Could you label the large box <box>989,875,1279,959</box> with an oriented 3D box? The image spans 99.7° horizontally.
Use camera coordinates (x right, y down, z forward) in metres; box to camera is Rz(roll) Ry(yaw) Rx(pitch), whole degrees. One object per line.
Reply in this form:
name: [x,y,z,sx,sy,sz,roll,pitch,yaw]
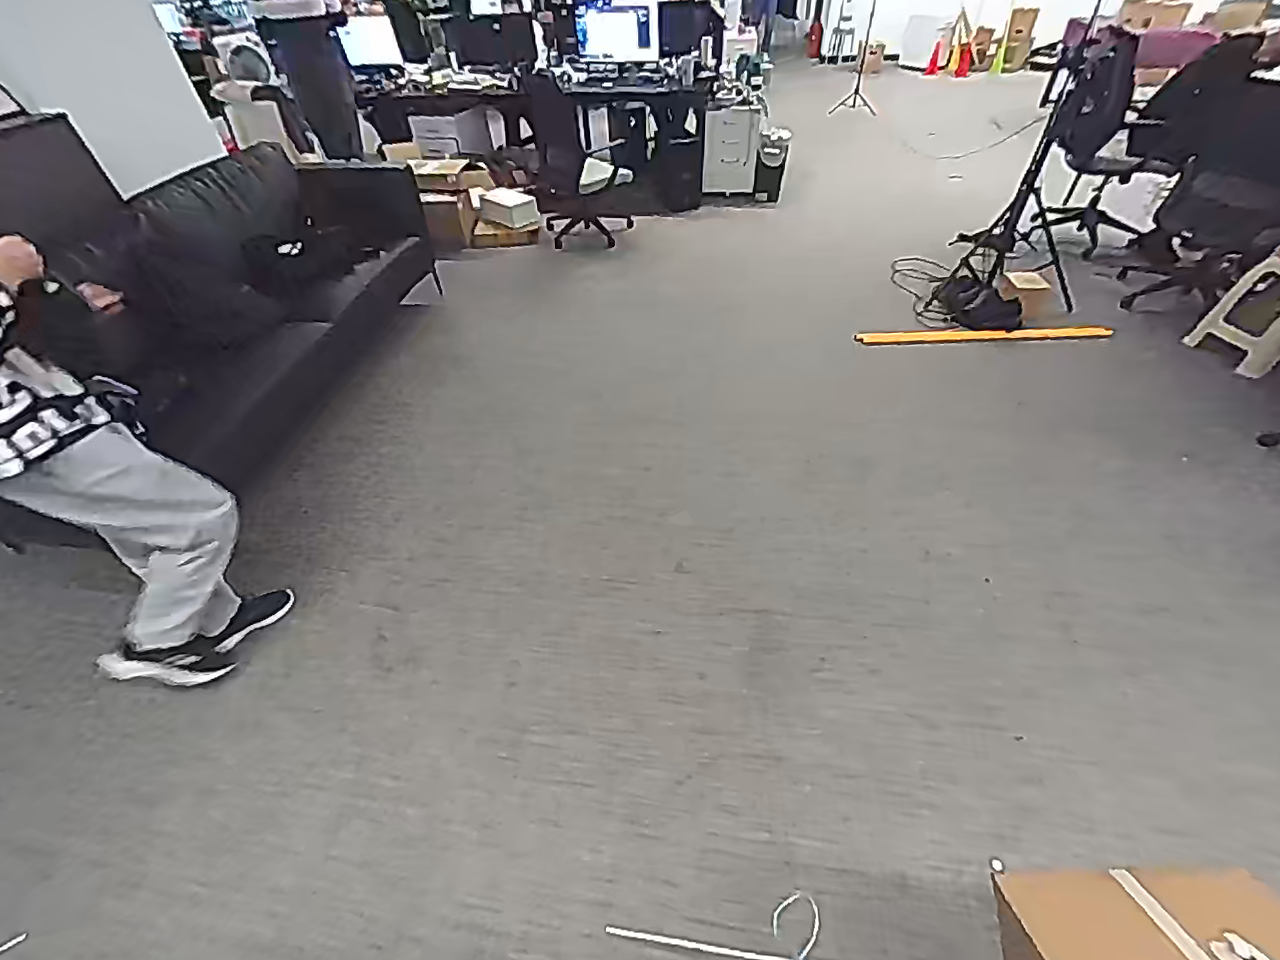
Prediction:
large box: [0.640,0.713,0.559,0.320,0.320,0.408,-7,2,9]
